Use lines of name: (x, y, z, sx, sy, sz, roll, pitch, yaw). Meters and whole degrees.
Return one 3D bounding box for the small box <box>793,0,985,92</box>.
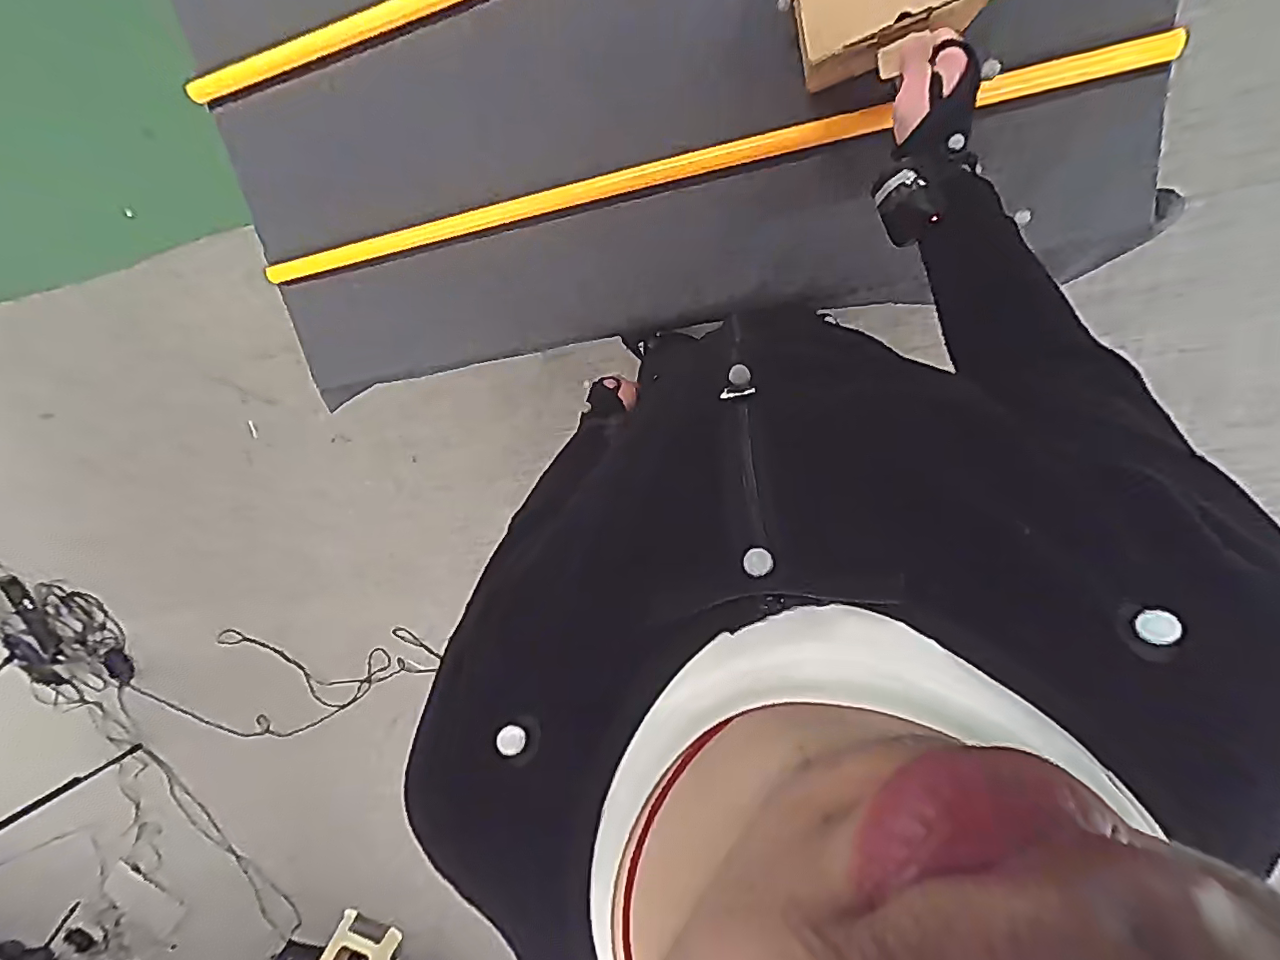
small box: (0.234, -0.514, 0.529, 0.168, 0.176, 0.179, -12, 110, 23)
